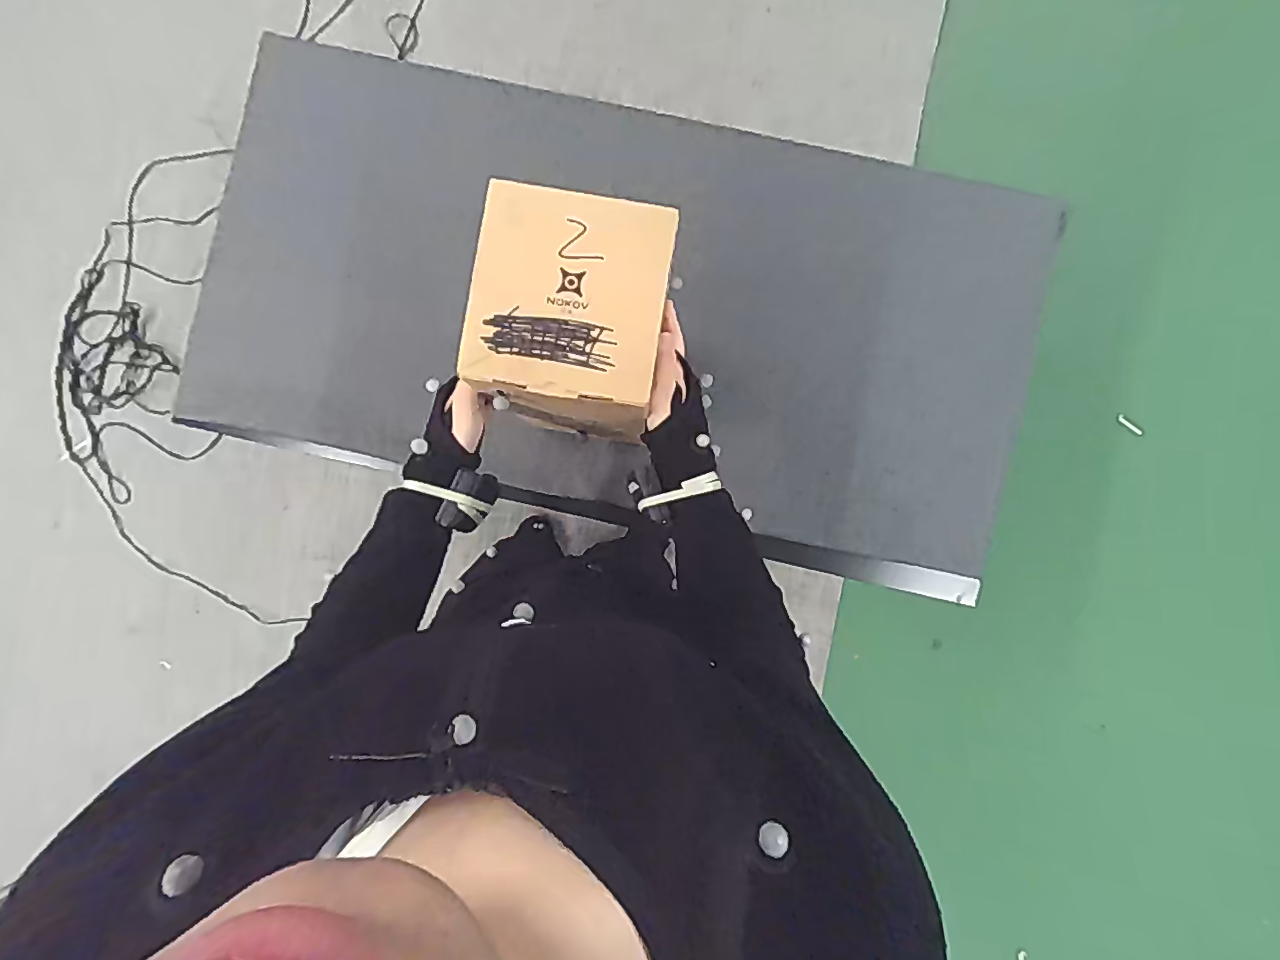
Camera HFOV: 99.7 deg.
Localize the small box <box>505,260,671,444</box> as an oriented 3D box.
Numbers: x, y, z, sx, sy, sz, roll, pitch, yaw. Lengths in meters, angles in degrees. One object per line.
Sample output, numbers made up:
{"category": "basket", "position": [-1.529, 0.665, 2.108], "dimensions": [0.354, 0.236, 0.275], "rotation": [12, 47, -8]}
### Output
{"category": "small box", "position": [-0.058, -0.151, 0.693], "dimensions": [0.168, 0.176, 0.179], "rotation": [9, 88, 2]}
